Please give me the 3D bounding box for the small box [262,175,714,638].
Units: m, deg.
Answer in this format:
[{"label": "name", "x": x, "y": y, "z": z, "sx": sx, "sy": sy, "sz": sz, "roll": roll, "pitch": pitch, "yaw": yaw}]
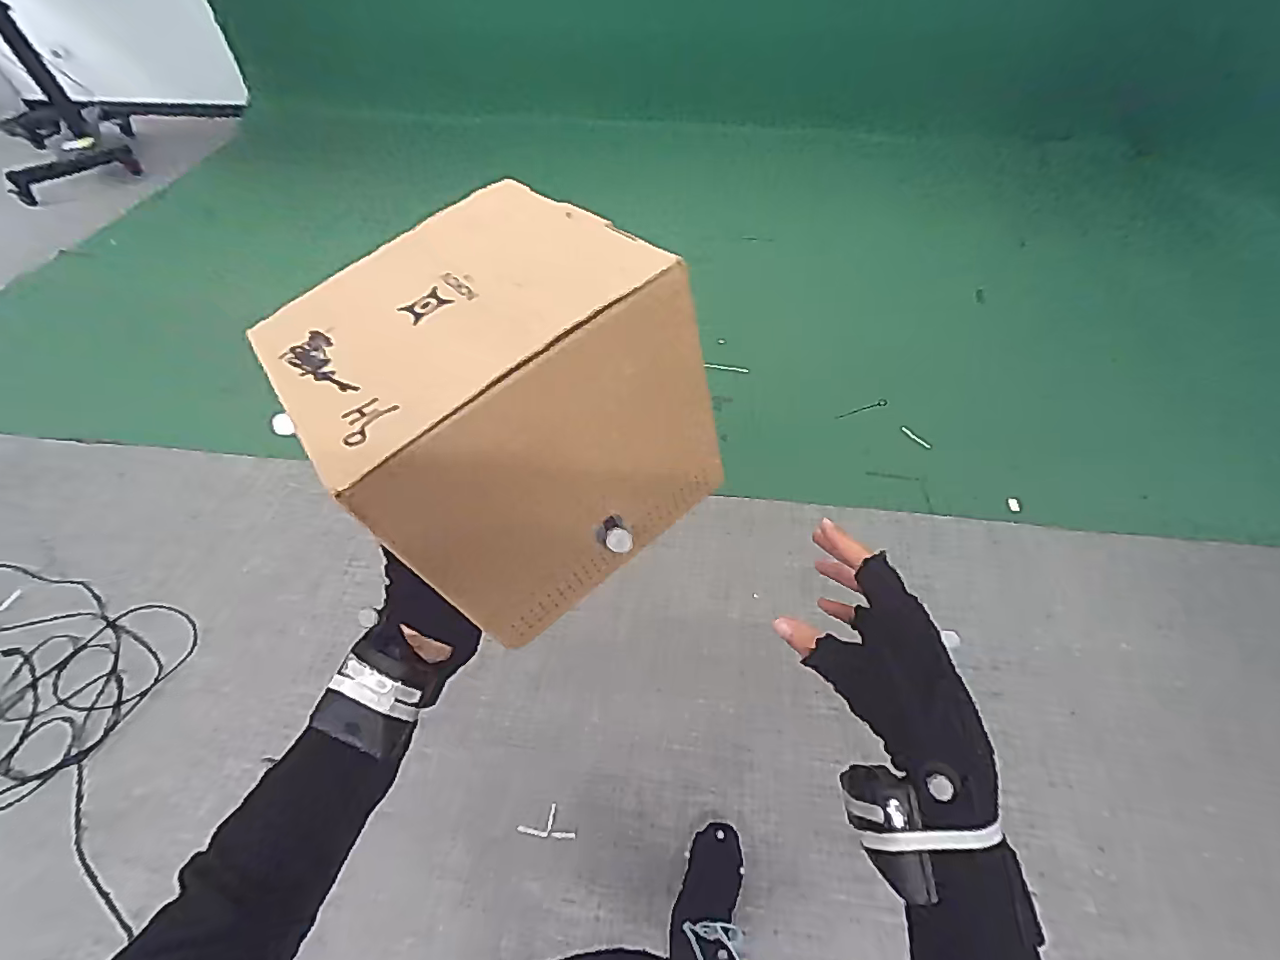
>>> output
[{"label": "small box", "x": -0.070, "y": -0.043, "z": 0.323, "sx": 0.179, "sy": 0.176, "sz": 0.168, "roll": -37, "pitch": 53, "yaw": -14}]
